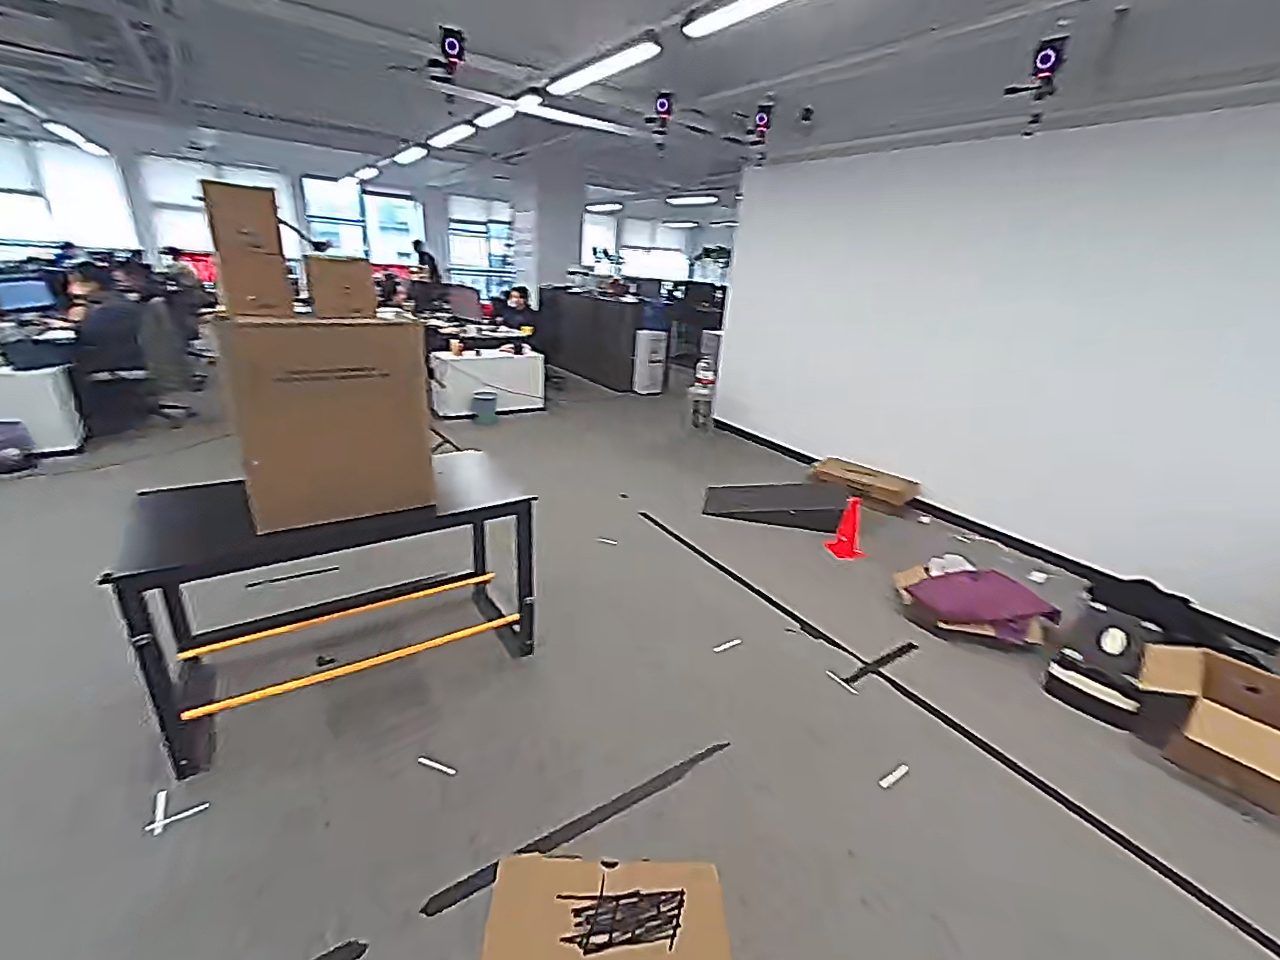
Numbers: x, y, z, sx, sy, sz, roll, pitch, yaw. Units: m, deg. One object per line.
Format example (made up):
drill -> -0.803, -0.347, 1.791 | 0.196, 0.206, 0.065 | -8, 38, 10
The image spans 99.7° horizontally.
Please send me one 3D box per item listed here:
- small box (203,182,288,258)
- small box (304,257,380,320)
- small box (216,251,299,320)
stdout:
small box -> -1.091, -0.714, 1.497 | 0.168, 0.176, 0.179 | -12, 28, -36
small box -> -0.911, -0.586, 1.657 | 0.168, 0.176, 0.179 | -13, 29, -35
small box -> -1.104, -0.562, 1.561 | 0.168, 0.176, 0.179 | -14, 29, -38
